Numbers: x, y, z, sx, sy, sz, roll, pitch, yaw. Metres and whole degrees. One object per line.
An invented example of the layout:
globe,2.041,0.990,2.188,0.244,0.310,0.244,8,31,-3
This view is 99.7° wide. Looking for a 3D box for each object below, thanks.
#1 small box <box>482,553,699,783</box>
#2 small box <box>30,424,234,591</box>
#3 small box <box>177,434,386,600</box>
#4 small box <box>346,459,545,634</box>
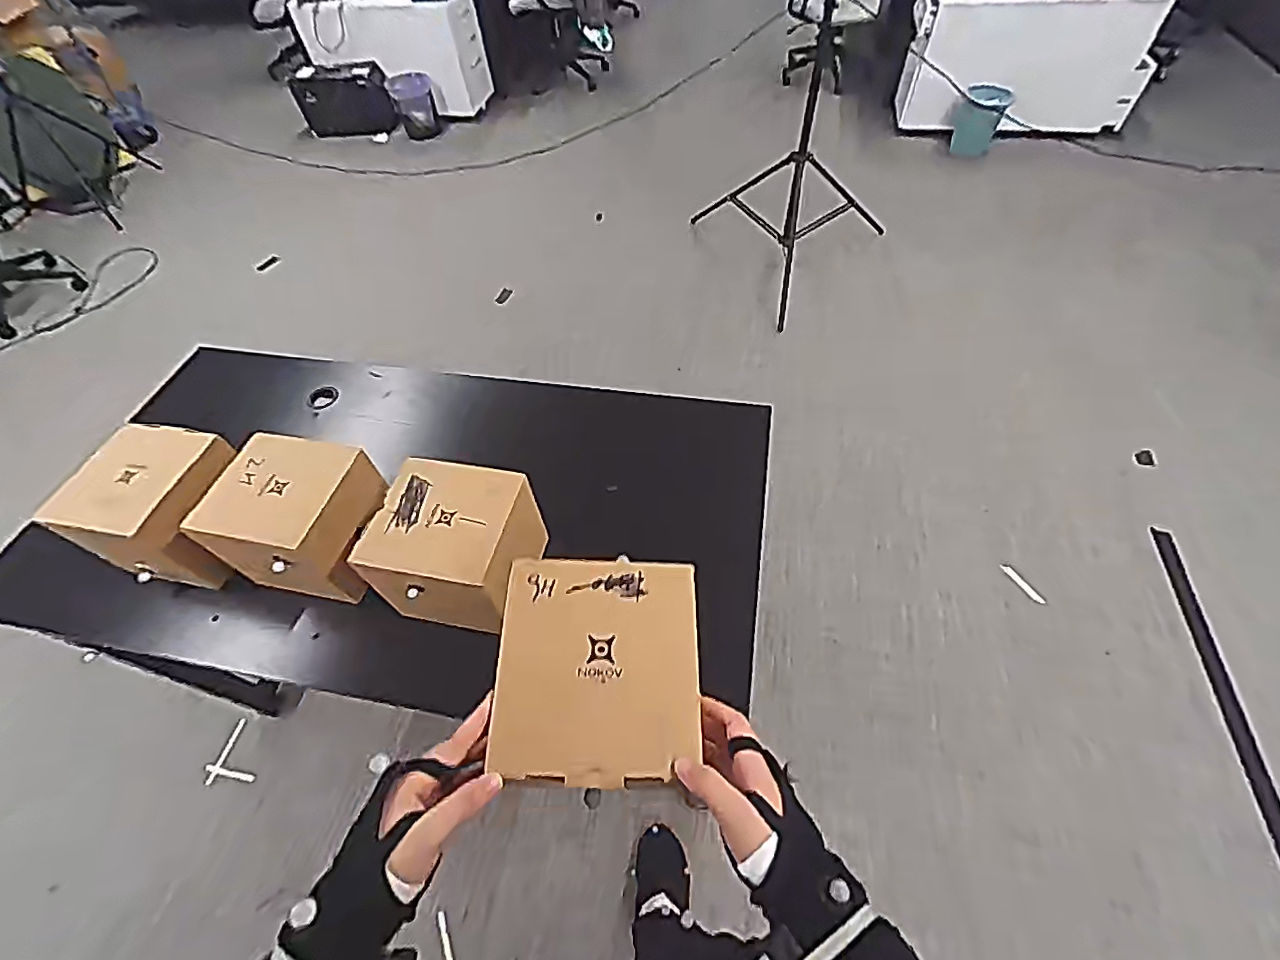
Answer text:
small box,-0.039,0.182,0.509,0.168,0.176,0.179,3,61,-3
small box,-0.699,0.042,0.805,0.168,0.176,0.179,6,56,10
small box,-0.481,0.058,0.778,0.179,0.176,0.168,8,55,10
small box,-0.247,0.094,0.738,0.179,0.176,0.168,8,55,9
